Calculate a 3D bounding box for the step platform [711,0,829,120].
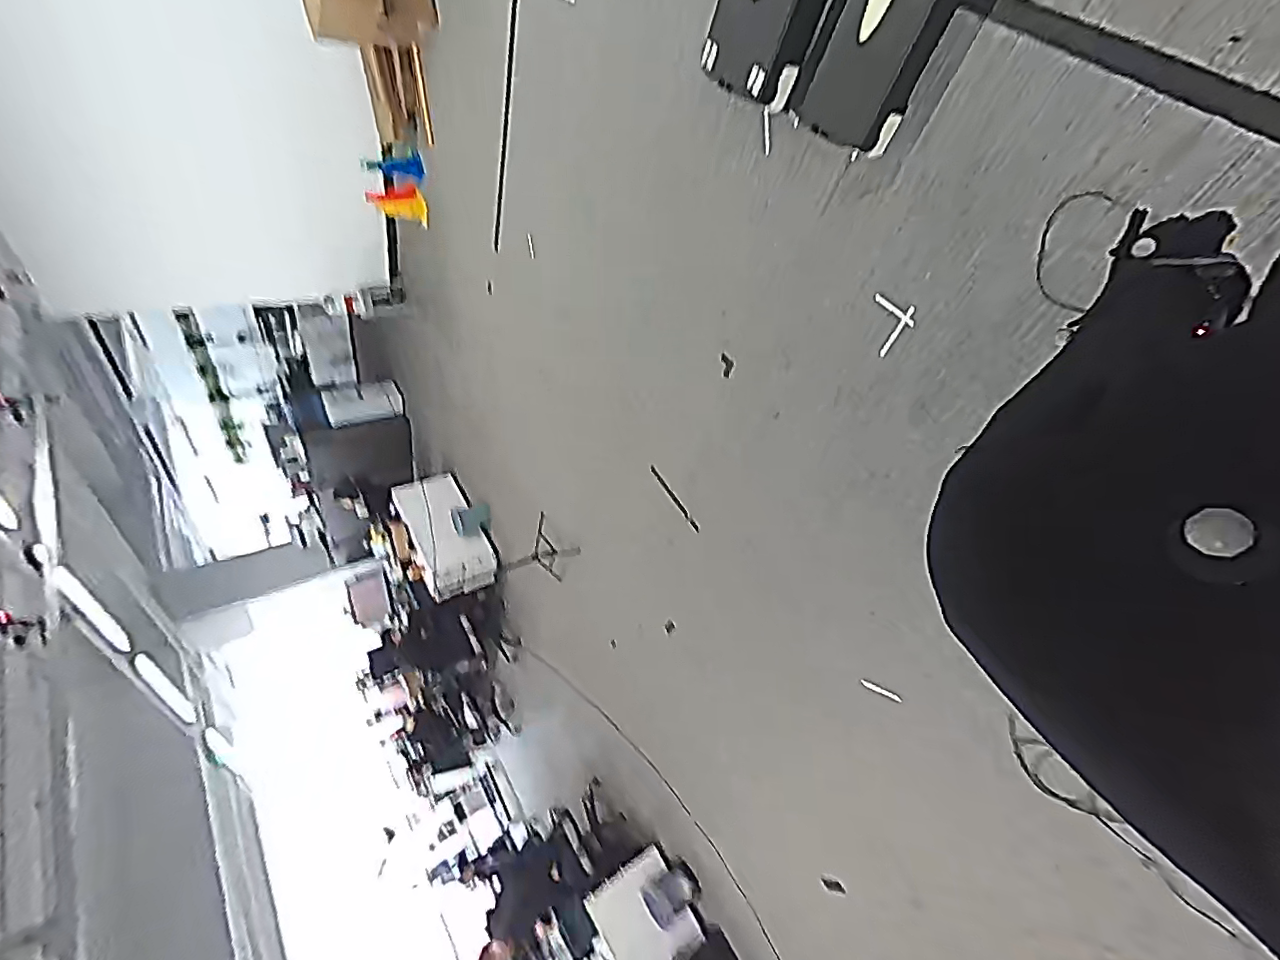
[{"bbox_3d":[0.420,-1.298,1.311,0.286,0.204,0.684,52,141,27],"label":"step platform"}]
